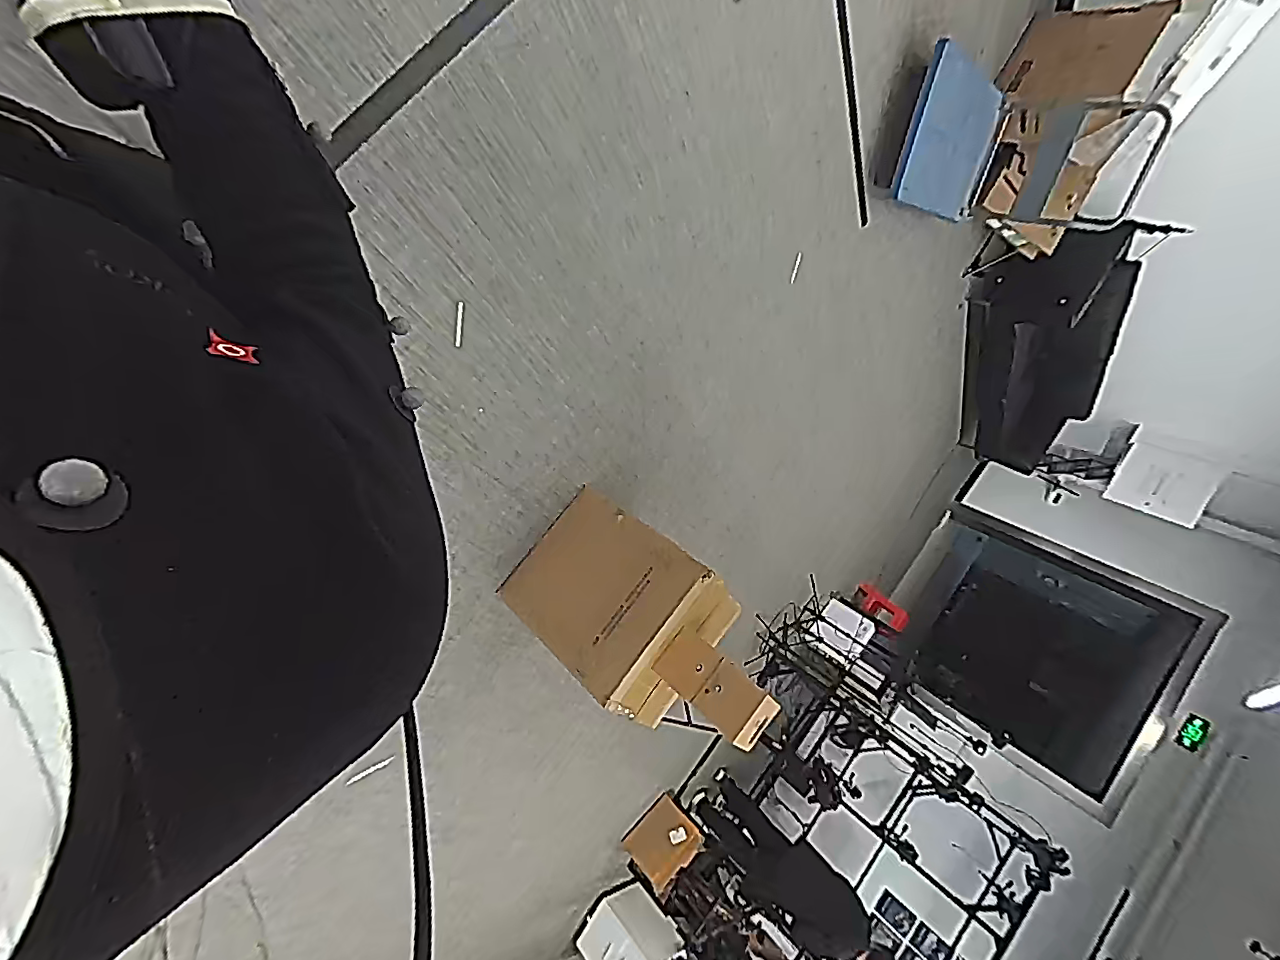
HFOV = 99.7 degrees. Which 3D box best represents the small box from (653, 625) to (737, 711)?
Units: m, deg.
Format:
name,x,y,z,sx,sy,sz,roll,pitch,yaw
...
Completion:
name,x,y,z,sx,sy,sz,roll,pitch,yaw
small box,0.171,0.587,1.699,0.179,0.176,0.168,-50,141,-10
